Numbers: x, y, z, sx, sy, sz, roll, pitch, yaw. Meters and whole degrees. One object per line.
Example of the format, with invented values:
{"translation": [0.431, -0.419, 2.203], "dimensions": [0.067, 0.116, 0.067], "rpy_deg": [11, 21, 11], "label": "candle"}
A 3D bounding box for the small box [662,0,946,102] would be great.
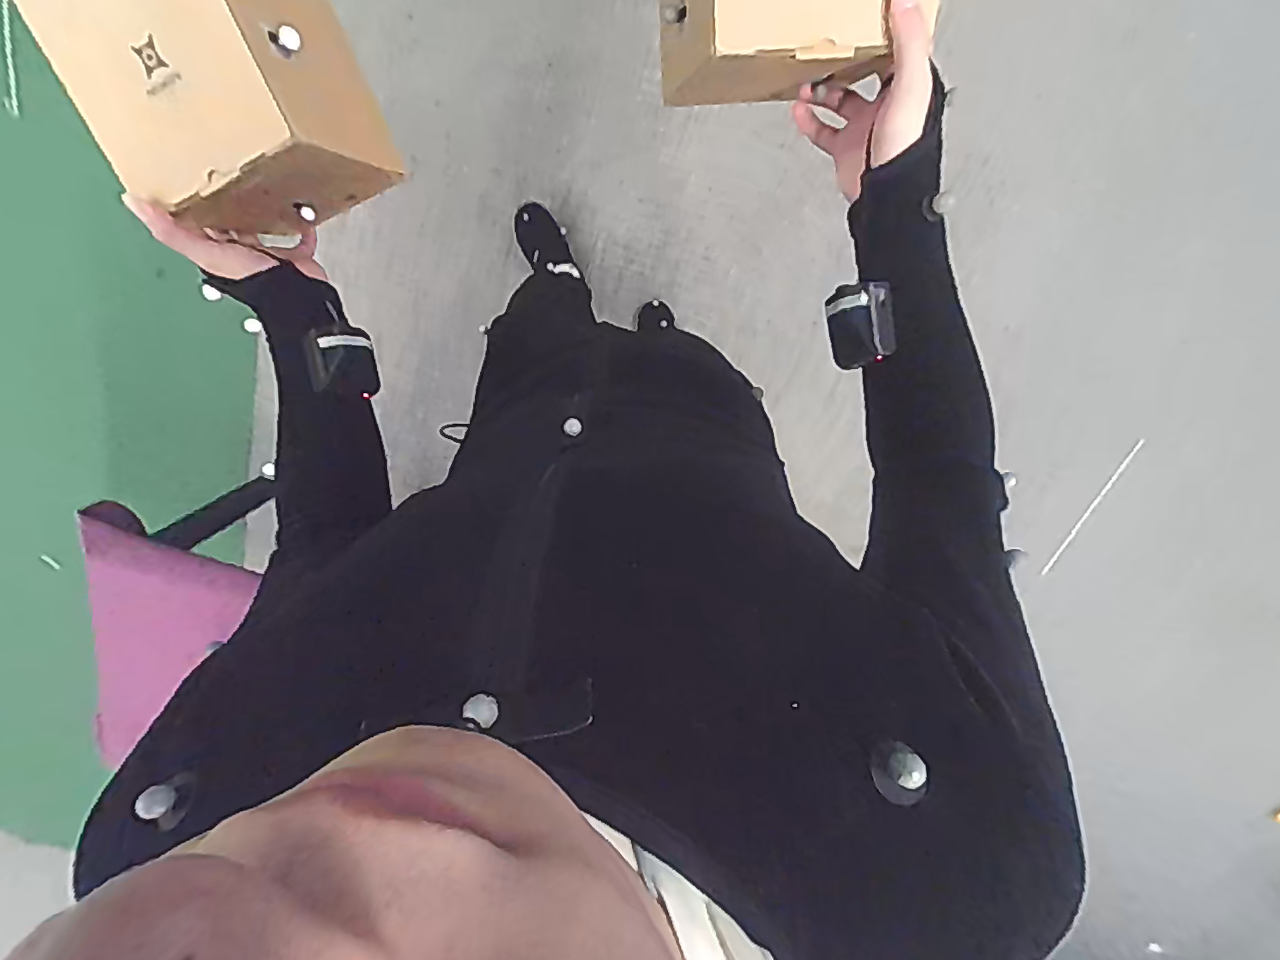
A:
{"translation": [0.114, -0.402, 0.407], "dimensions": [0.168, 0.176, 0.179], "rpy_deg": [-6, 115, -8], "label": "small box"}

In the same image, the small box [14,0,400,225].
{"translation": [-0.353, -0.345, 0.473], "dimensions": [0.168, 0.176, 0.179], "rpy_deg": [-16, 108, 13], "label": "small box"}
